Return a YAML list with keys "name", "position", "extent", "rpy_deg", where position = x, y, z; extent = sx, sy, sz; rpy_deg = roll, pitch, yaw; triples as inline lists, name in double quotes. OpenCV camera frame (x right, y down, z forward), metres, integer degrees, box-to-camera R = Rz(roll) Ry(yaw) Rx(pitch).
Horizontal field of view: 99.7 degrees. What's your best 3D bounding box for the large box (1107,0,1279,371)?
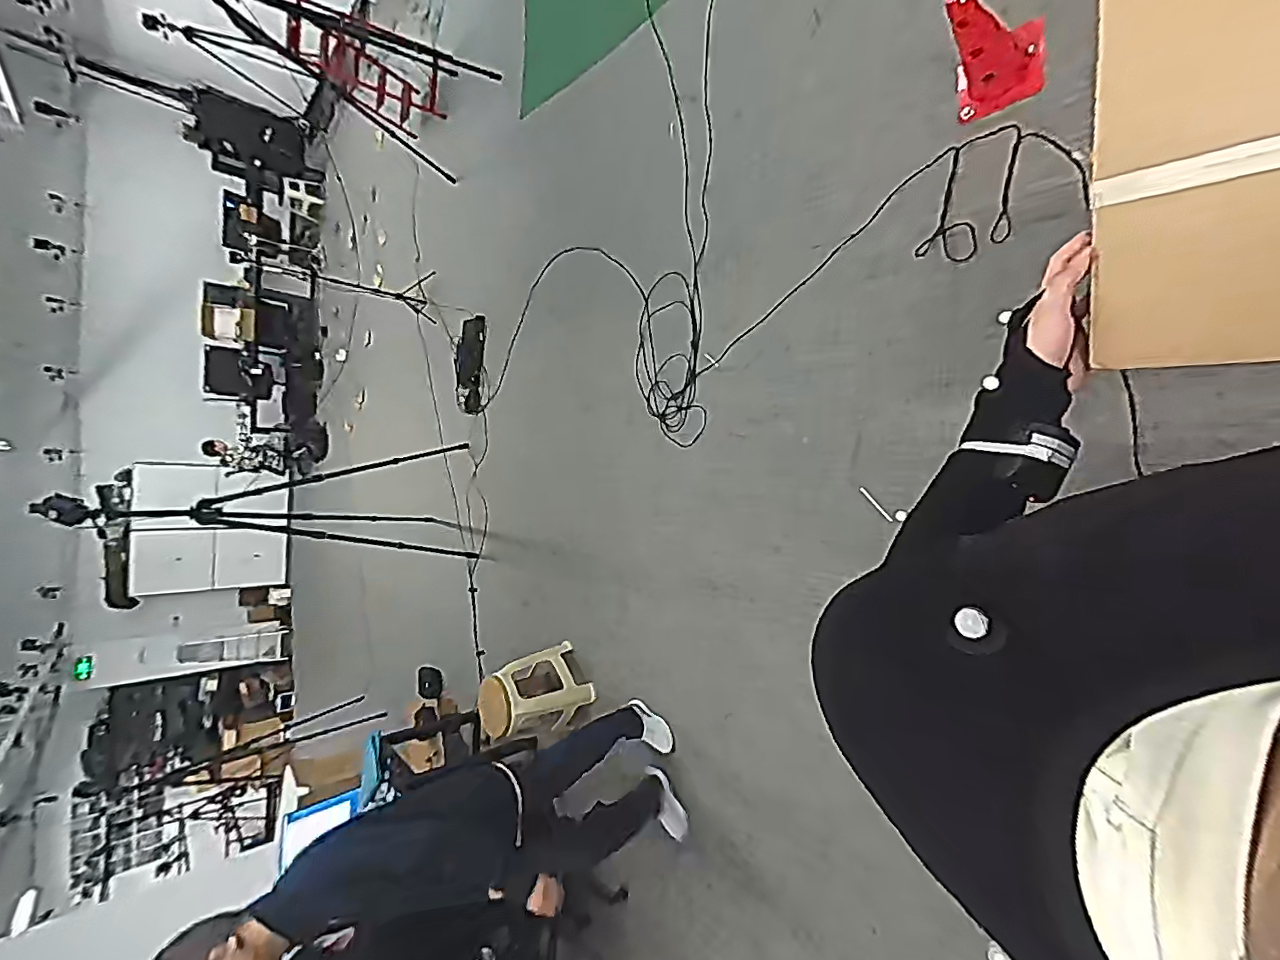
- name: "large box"
  position: [0.647, -0.285, 0.418]
  extent: [0.408, 0.320, 0.320]
  rpy_deg: [6, 115, 48]
